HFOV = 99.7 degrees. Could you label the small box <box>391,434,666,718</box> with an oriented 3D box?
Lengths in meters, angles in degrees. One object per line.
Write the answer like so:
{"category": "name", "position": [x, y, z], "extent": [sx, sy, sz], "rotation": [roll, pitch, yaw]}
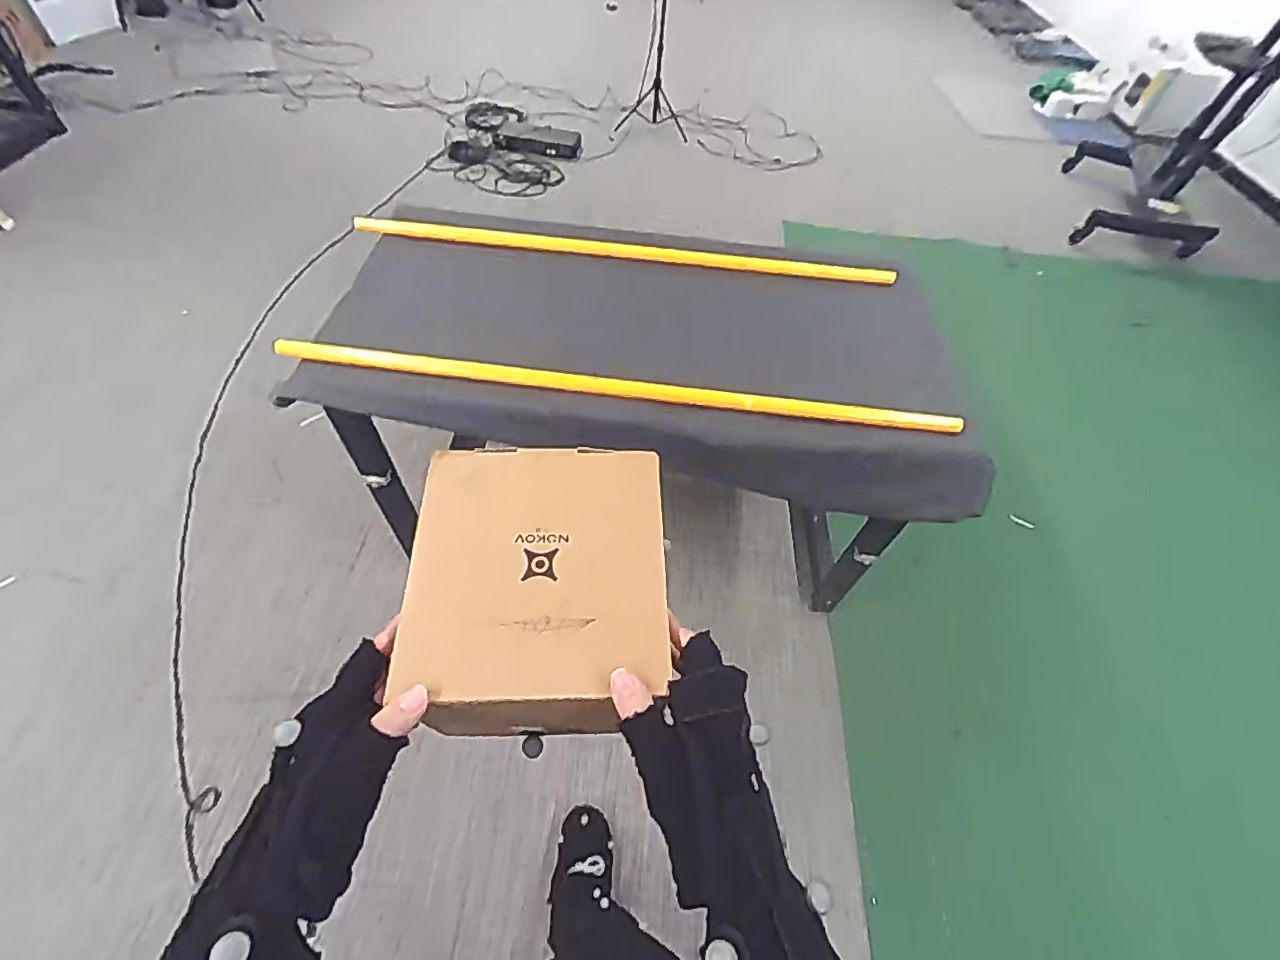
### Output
{"category": "small box", "position": [-0.073, 0.083, 0.431], "extent": [0.168, 0.176, 0.179], "rotation": [0, 59, -4]}
